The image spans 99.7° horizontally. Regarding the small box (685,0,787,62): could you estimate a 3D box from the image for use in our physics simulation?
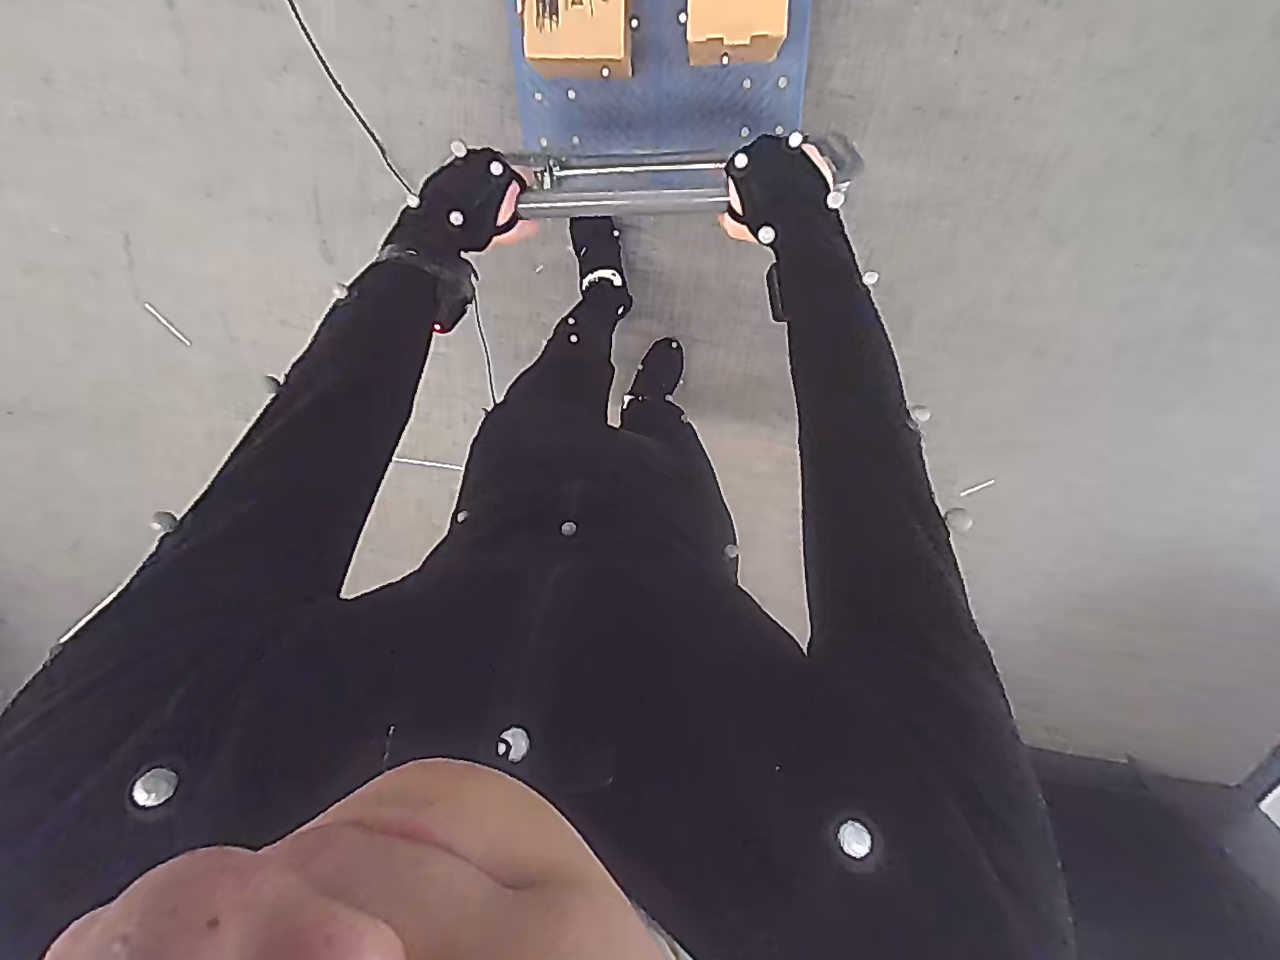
[{"bbox_3d":[0.163,-0.857,0.941,0.168,0.176,0.179,0,117,4],"label":"small box"}]
